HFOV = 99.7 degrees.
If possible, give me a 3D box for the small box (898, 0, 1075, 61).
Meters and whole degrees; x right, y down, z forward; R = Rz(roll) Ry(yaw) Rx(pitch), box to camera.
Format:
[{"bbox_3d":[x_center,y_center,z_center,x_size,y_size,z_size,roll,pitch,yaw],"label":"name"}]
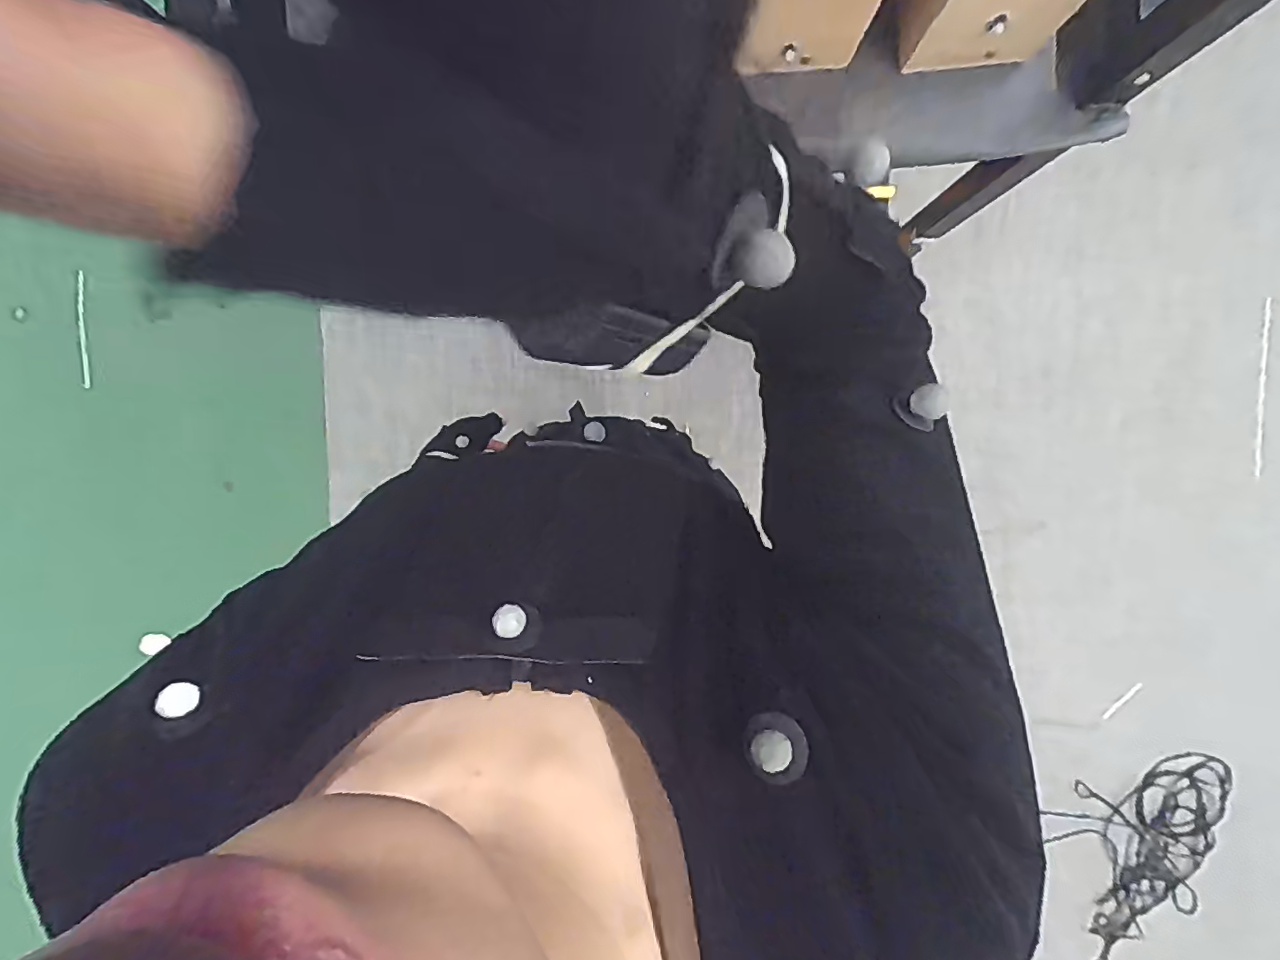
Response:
[{"bbox_3d":[0.412,-0.618,0.615,0.168,0.176,0.179,-5,94,1],"label":"small box"}]
